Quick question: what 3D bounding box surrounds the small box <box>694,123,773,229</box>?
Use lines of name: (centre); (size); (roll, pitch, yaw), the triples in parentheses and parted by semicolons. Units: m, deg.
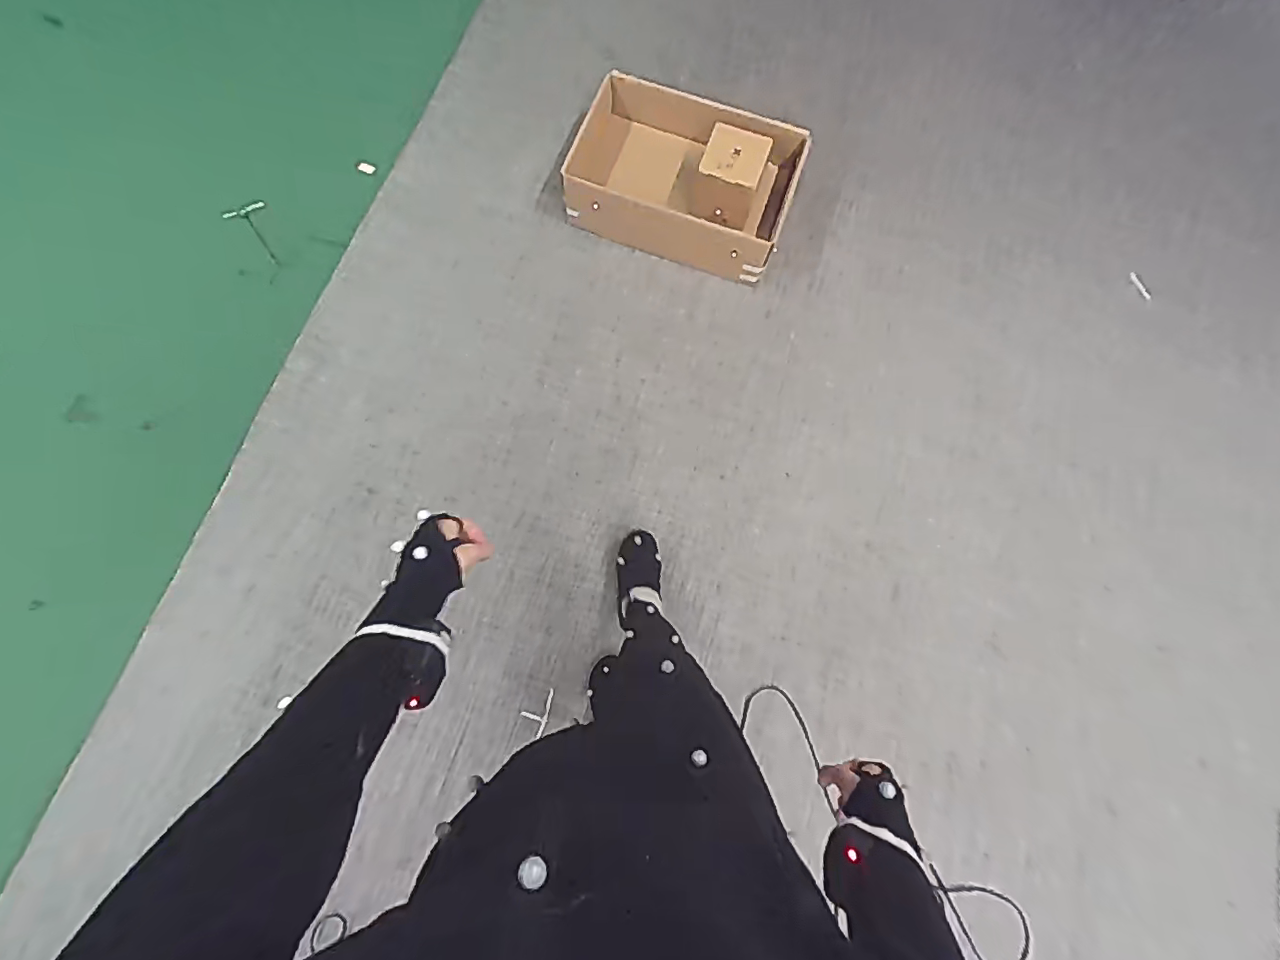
small box: (0.259, -0.860, 1.542); (0.168, 0.176, 0.179); (20, 77, 5)
